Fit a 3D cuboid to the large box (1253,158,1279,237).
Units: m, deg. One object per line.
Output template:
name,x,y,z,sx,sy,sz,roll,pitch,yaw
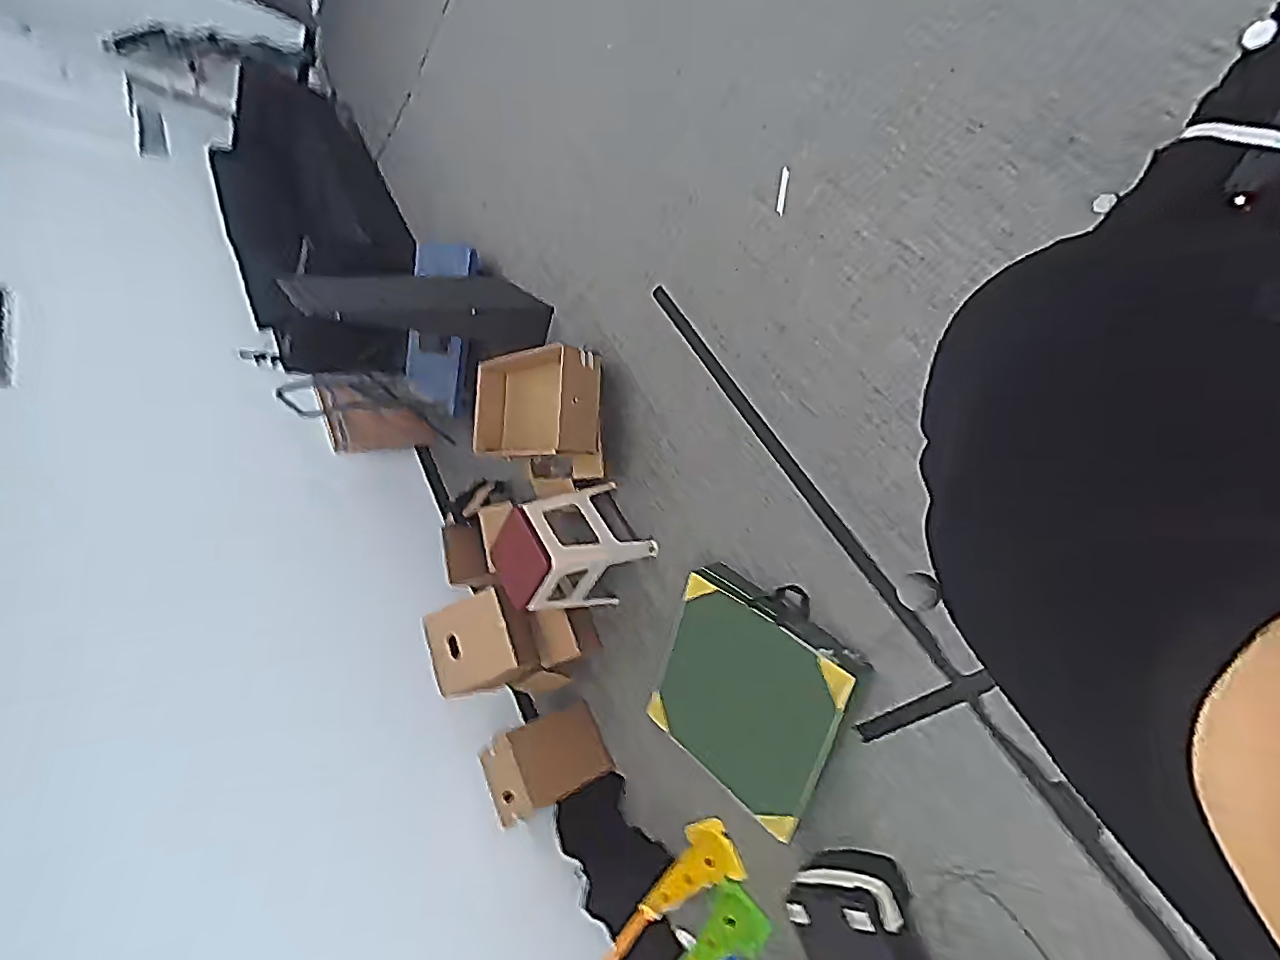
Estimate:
large box,0.737,-0.252,0.315,0.408,0.320,0.320,46,129,29
